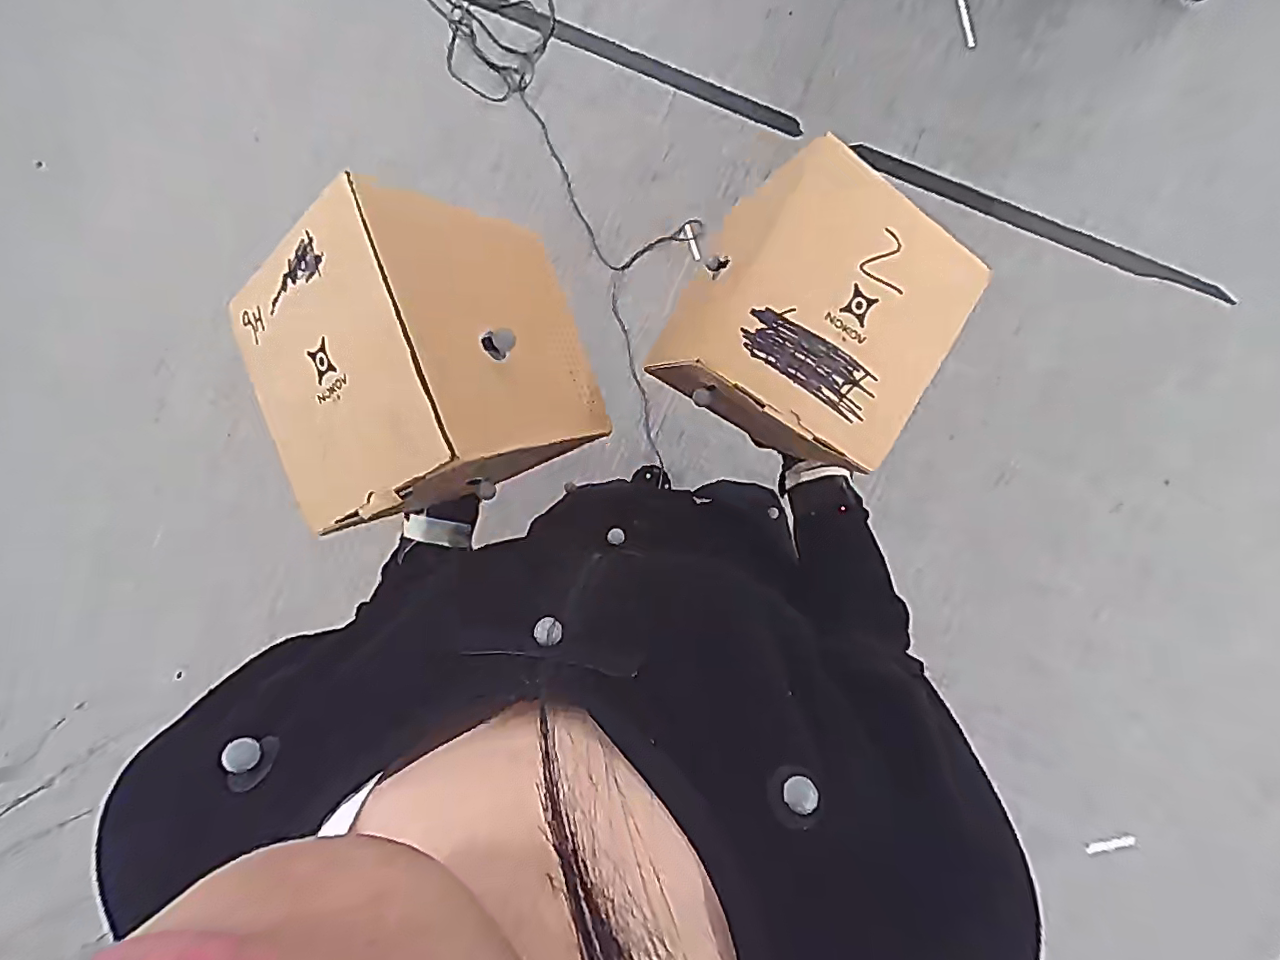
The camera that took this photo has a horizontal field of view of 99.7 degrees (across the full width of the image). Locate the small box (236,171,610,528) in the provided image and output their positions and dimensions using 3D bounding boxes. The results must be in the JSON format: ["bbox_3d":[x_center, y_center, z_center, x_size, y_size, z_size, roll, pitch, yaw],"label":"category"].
[{"bbox_3d":[-0.149,-0.085,0.407,0.168,0.176,0.179,-21,91,31],"label":"small box"}]
